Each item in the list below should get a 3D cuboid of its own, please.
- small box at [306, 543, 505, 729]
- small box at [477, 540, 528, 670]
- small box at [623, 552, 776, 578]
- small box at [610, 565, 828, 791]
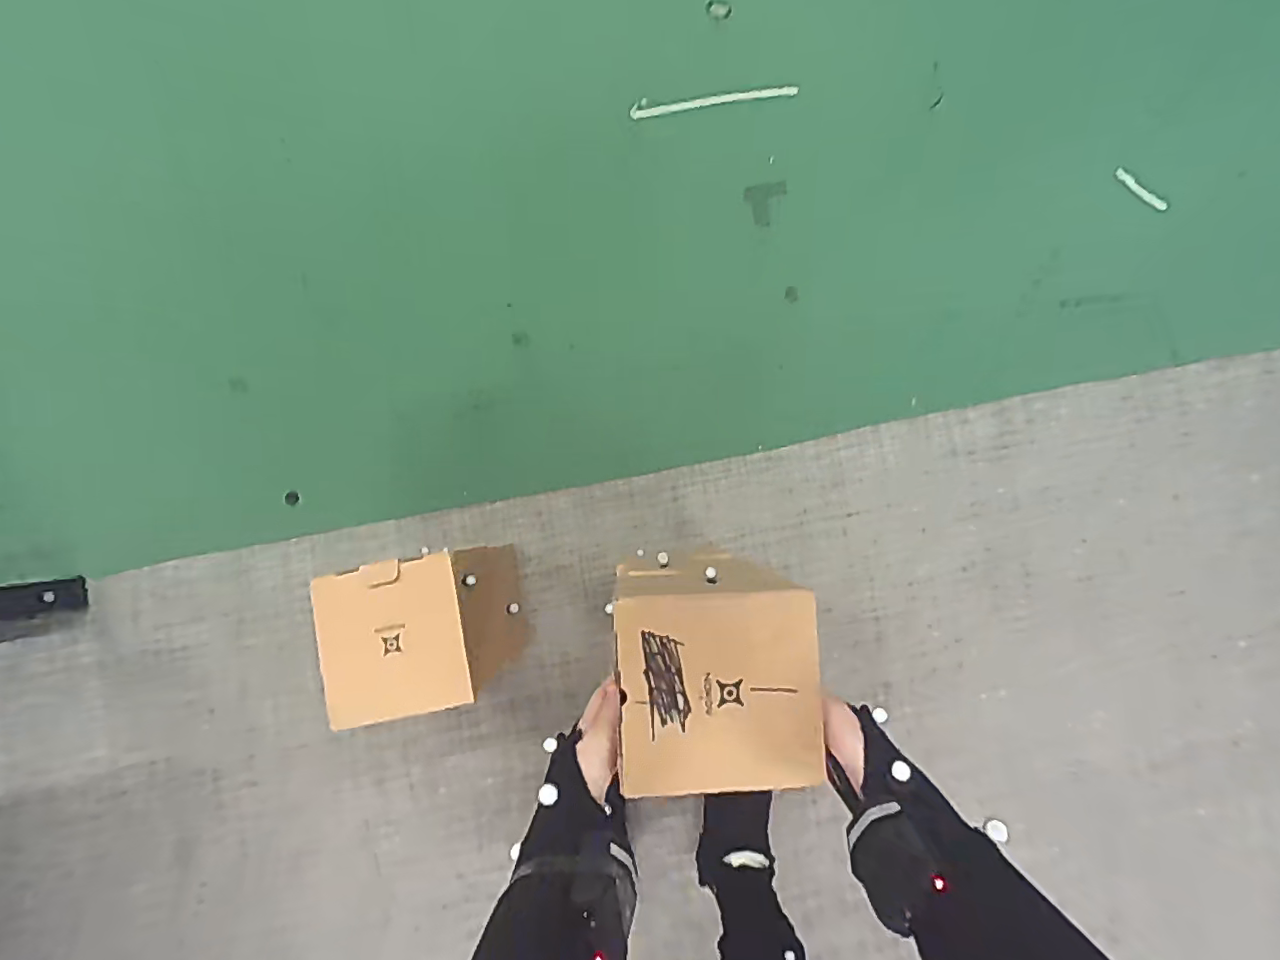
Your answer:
[{"bbox_3d":[-0.281,0.183,0.685,0.168,0.176,0.179,-12,85,-2],"label":"small box"},{"bbox_3d":[-0.283,0.200,0.847,0.168,0.176,0.179,-13,88,-2],"label":"small box"},{"bbox_3d":[0.067,0.183,0.691,0.179,0.176,0.168,0,87,-2],"label":"small box"},{"bbox_3d":[0.064,0.175,0.527,0.179,0.176,0.168,-3,87,-2],"label":"small box"}]
